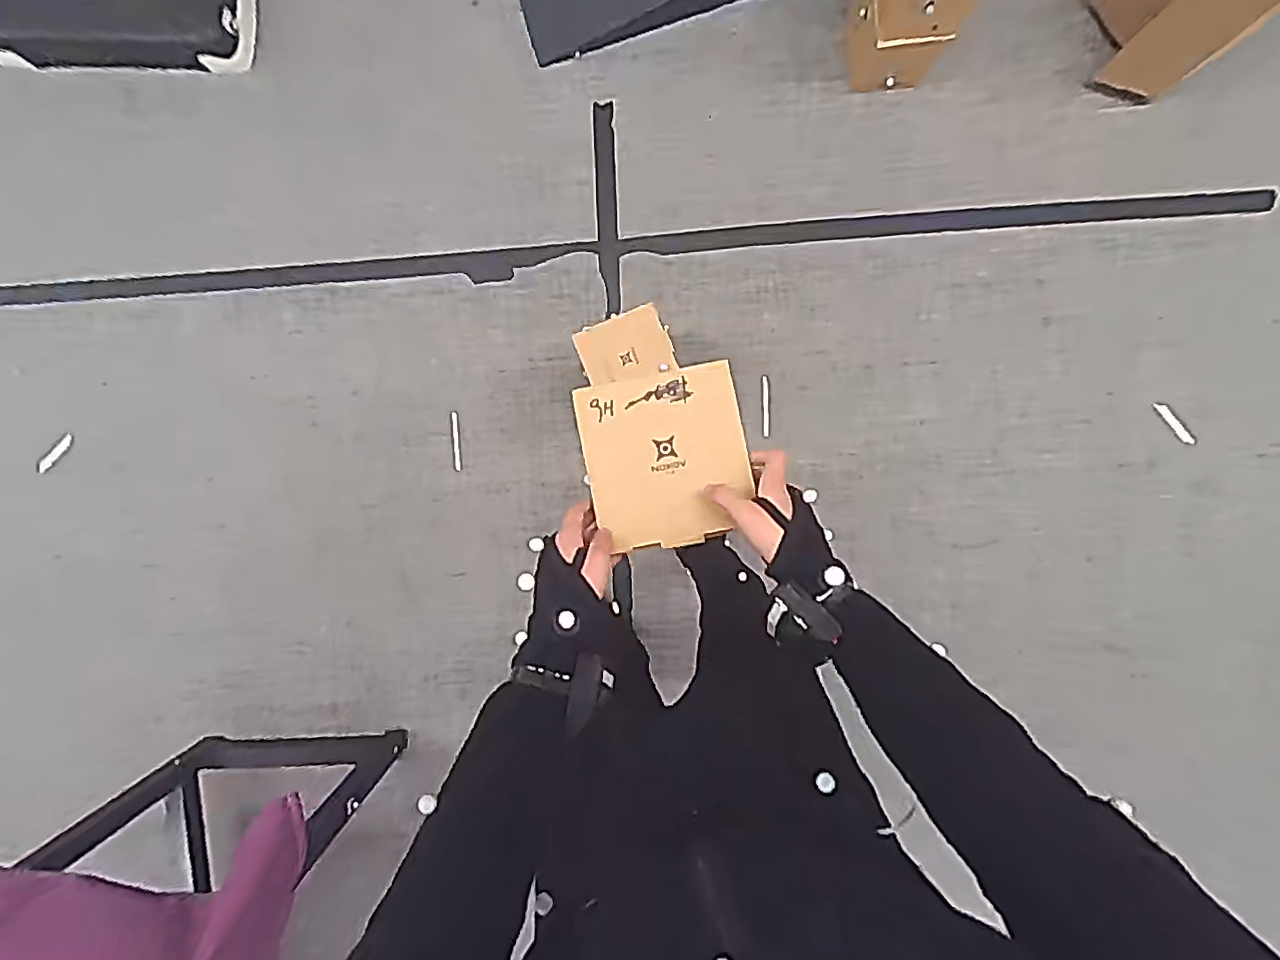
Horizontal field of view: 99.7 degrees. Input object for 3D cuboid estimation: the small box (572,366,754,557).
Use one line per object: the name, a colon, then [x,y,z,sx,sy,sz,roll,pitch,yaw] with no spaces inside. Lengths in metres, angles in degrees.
small box: [0.025,-0.018,0.636,0.168,0.176,0.179,-11,88,0]
